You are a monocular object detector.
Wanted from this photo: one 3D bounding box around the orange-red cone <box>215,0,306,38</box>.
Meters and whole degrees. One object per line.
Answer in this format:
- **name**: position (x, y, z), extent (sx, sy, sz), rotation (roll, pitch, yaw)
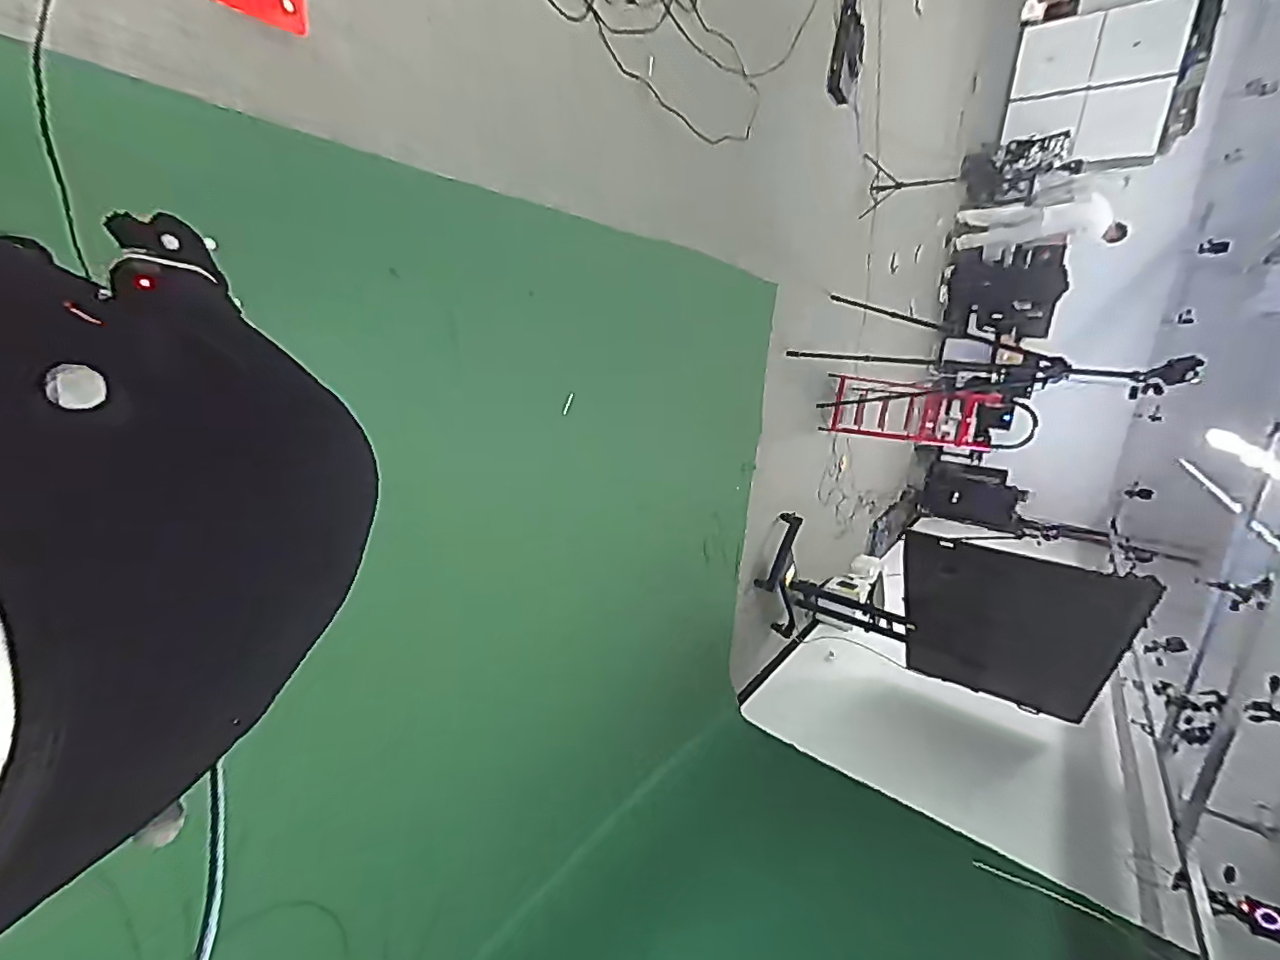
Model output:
- **orange-red cone**: position (-0.673, -1.041, 1.029), extent (0.198, 0.360, 0.199), rotation (-15, 113, -51)
